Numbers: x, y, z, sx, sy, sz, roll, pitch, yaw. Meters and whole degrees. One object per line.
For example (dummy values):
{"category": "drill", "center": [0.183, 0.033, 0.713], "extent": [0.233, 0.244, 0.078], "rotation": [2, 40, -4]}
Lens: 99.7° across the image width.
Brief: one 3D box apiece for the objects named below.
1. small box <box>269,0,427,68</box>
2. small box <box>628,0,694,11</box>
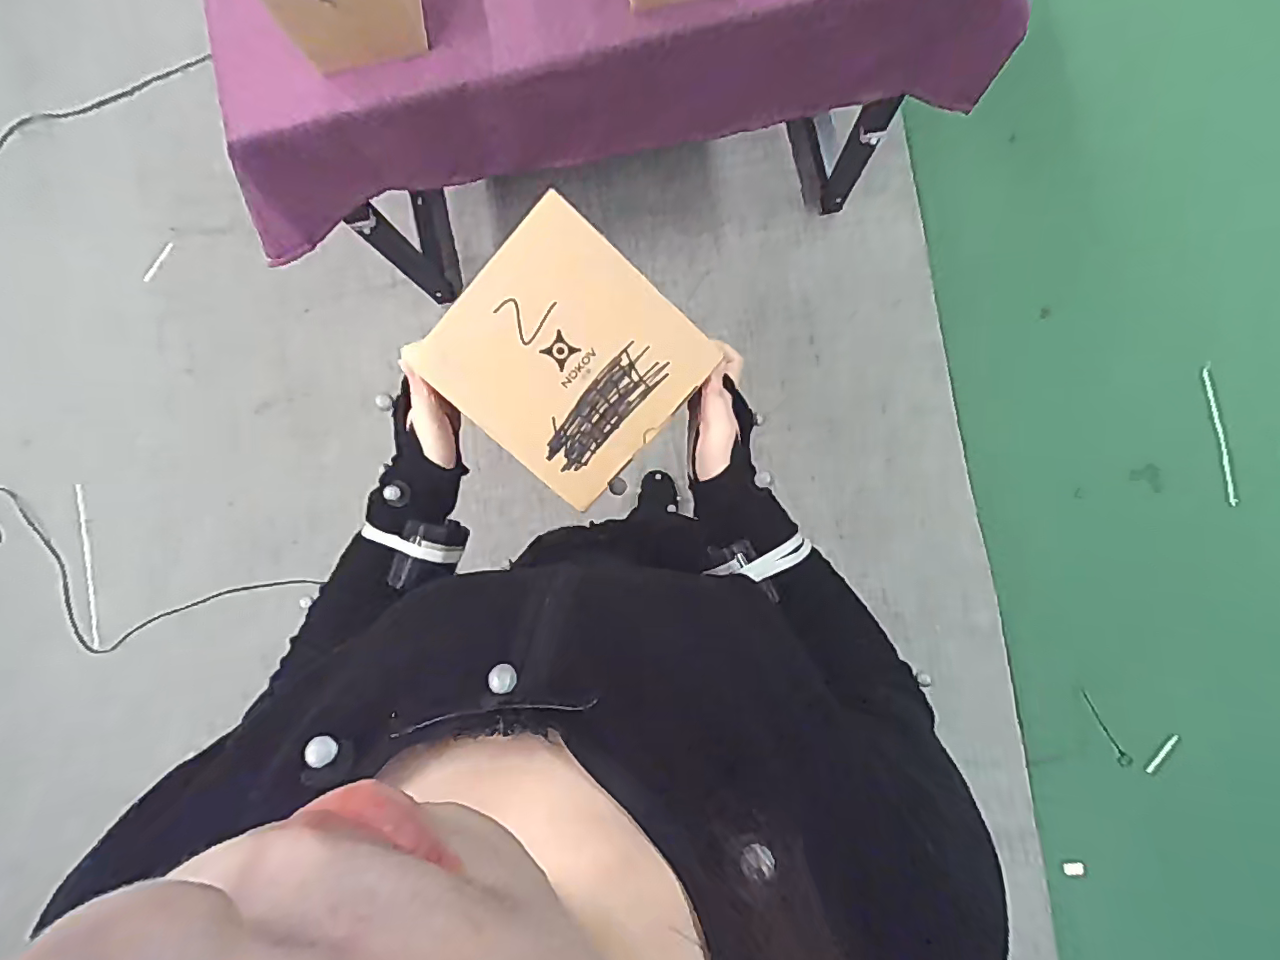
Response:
{"category": "small box", "center": [-0.425, -0.721, 0.753], "extent": [0.179, 0.176, 0.168], "rotation": [-9, 87, 3]}
{"category": "small box", "center": [0.055, -0.797, 0.732], "extent": [0.179, 0.176, 0.168], "rotation": [-9, 86, 4]}
